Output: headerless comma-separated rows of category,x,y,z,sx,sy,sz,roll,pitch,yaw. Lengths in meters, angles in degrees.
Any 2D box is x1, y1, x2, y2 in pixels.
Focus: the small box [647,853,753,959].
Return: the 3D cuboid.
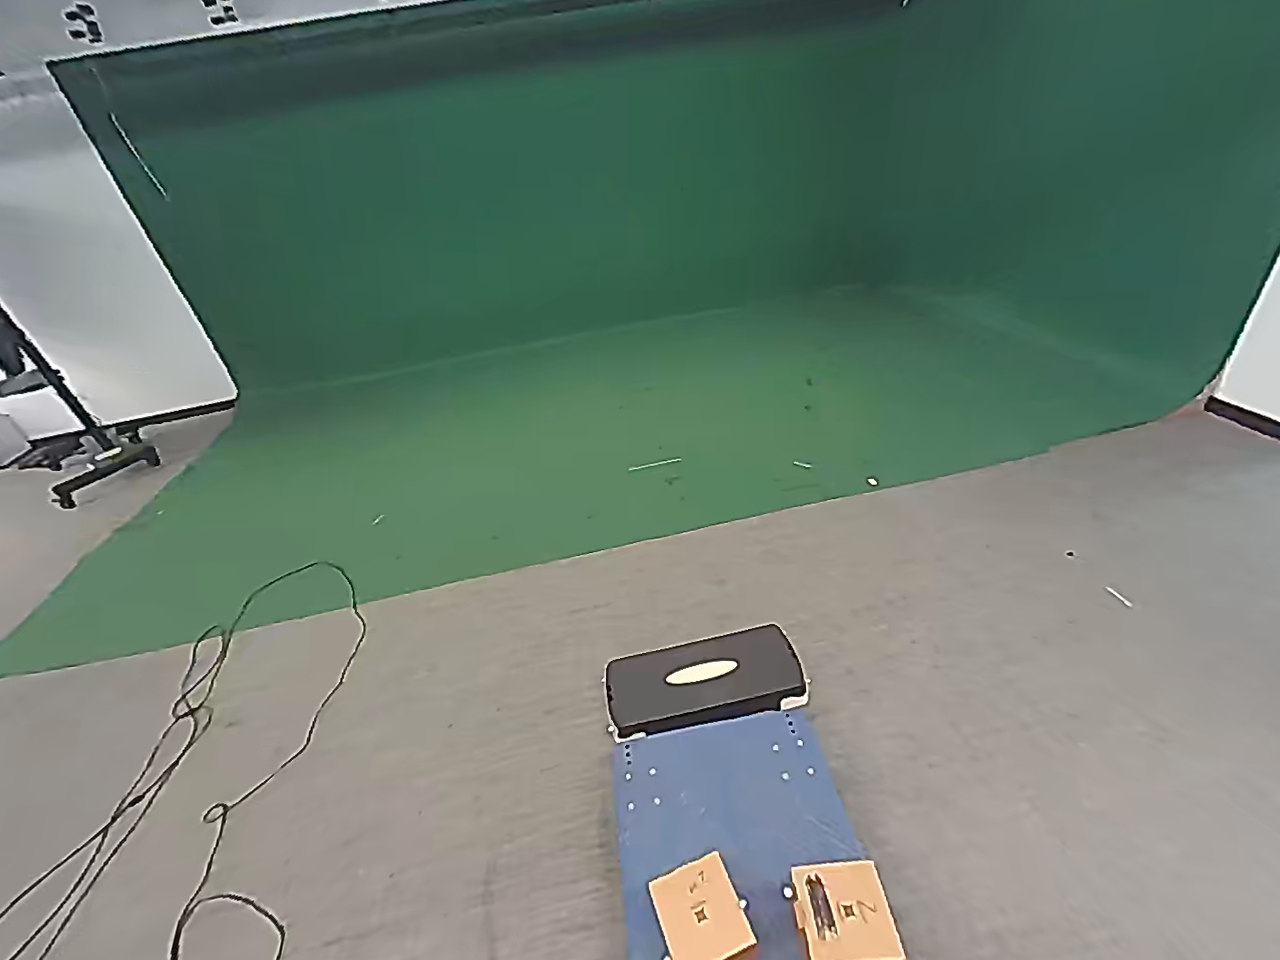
small box,0.127,0.940,1.135,0.168,0.176,0.179,-16,34,-12
